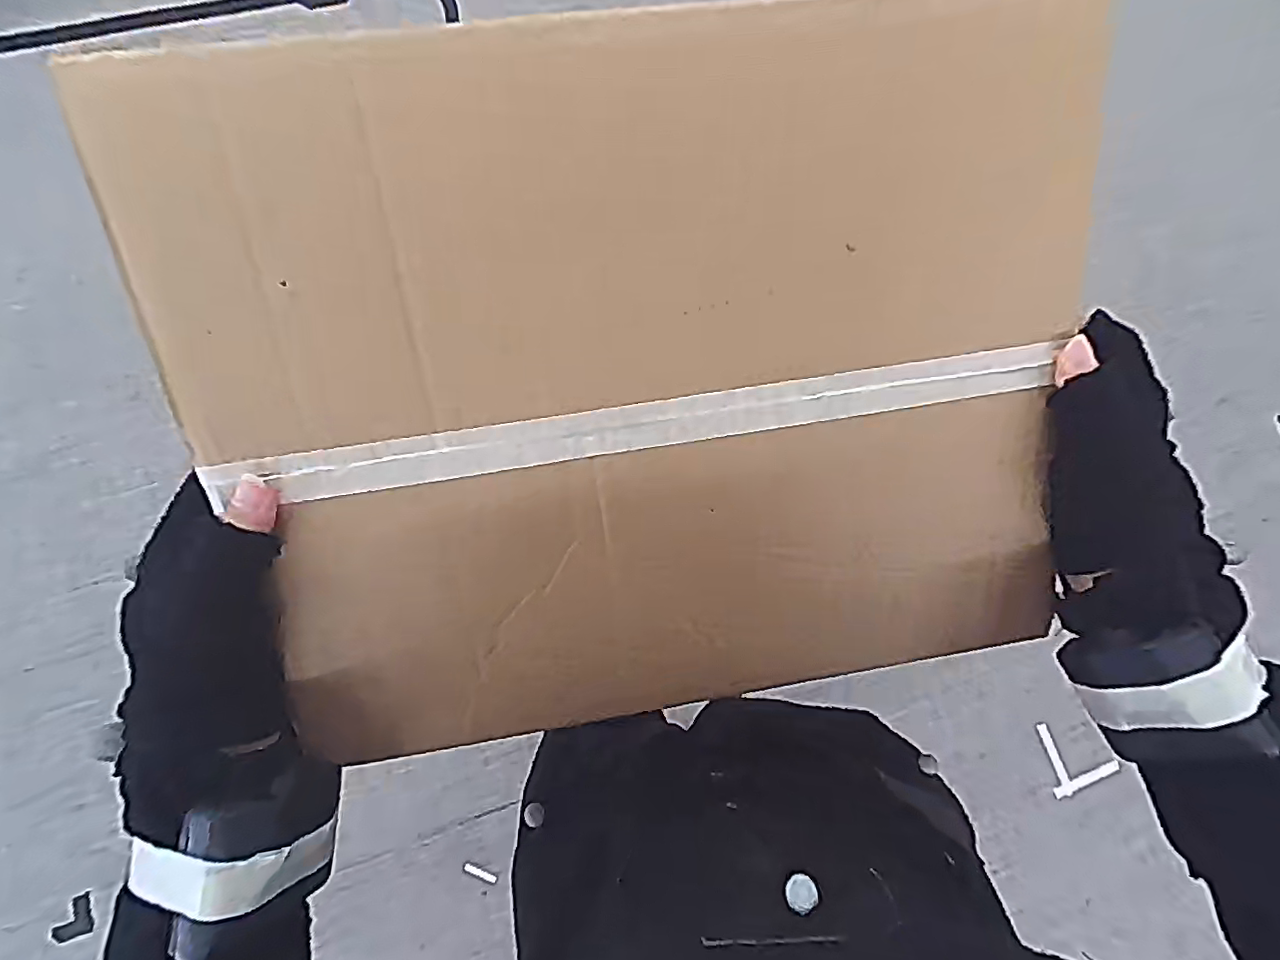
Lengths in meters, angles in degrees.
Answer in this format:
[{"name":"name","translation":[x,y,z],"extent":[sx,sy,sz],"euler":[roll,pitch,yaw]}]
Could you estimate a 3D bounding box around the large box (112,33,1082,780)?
[{"name":"large box","translation":[-0.002,-0.056,0.403],"extent":[0.408,0.320,0.320],"euler":[-9,107,-4]}]
